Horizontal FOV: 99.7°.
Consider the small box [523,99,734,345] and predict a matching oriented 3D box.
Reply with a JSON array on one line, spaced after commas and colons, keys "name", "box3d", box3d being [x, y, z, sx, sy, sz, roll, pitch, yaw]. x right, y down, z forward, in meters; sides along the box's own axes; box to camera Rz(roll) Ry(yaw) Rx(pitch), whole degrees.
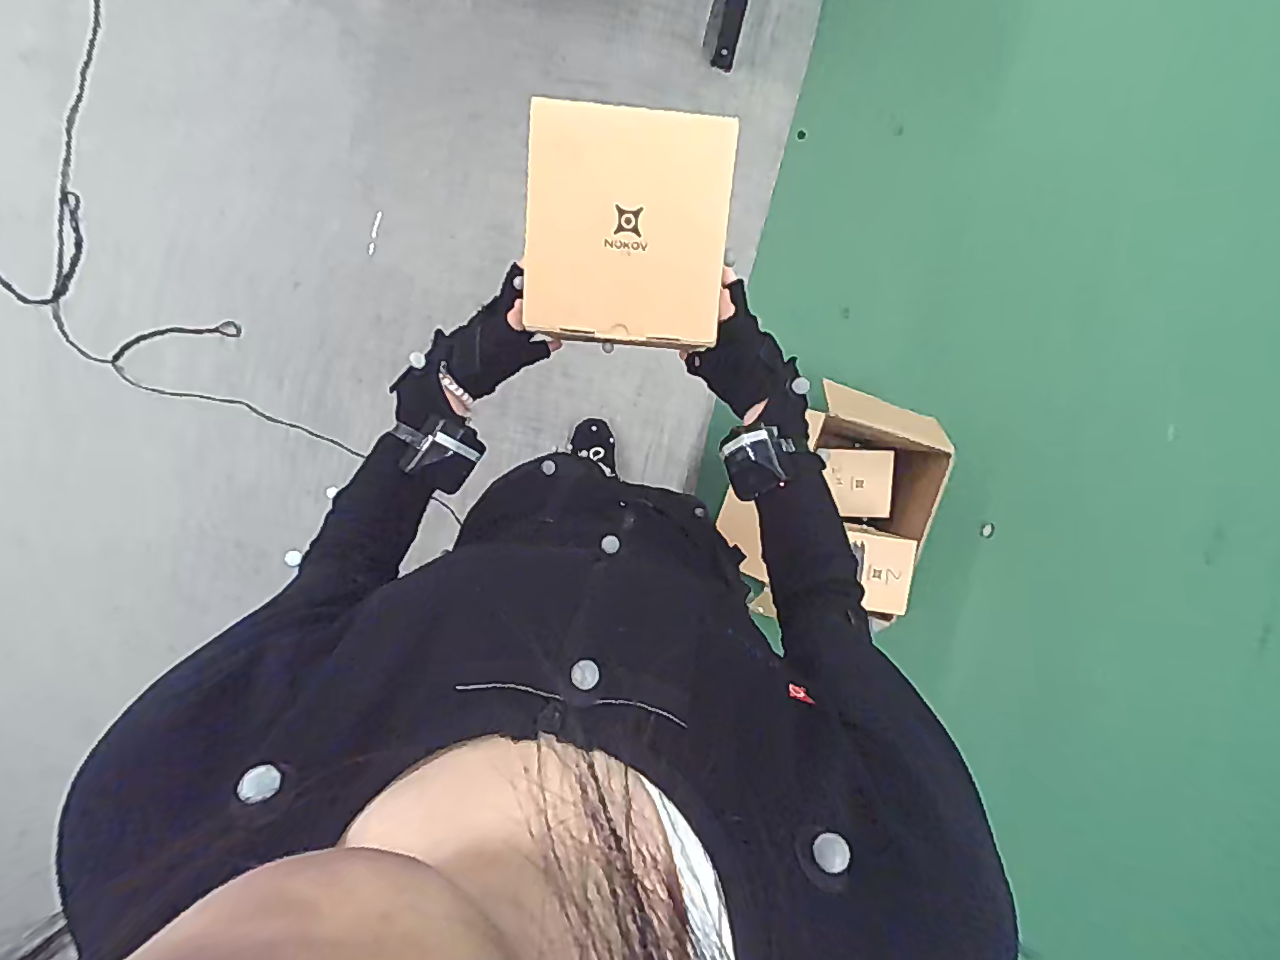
[{"name": "small box", "box3d": [-0.016, -0.229, 0.528, 0.168, 0.176, 0.179, 4, 104, -3]}]
